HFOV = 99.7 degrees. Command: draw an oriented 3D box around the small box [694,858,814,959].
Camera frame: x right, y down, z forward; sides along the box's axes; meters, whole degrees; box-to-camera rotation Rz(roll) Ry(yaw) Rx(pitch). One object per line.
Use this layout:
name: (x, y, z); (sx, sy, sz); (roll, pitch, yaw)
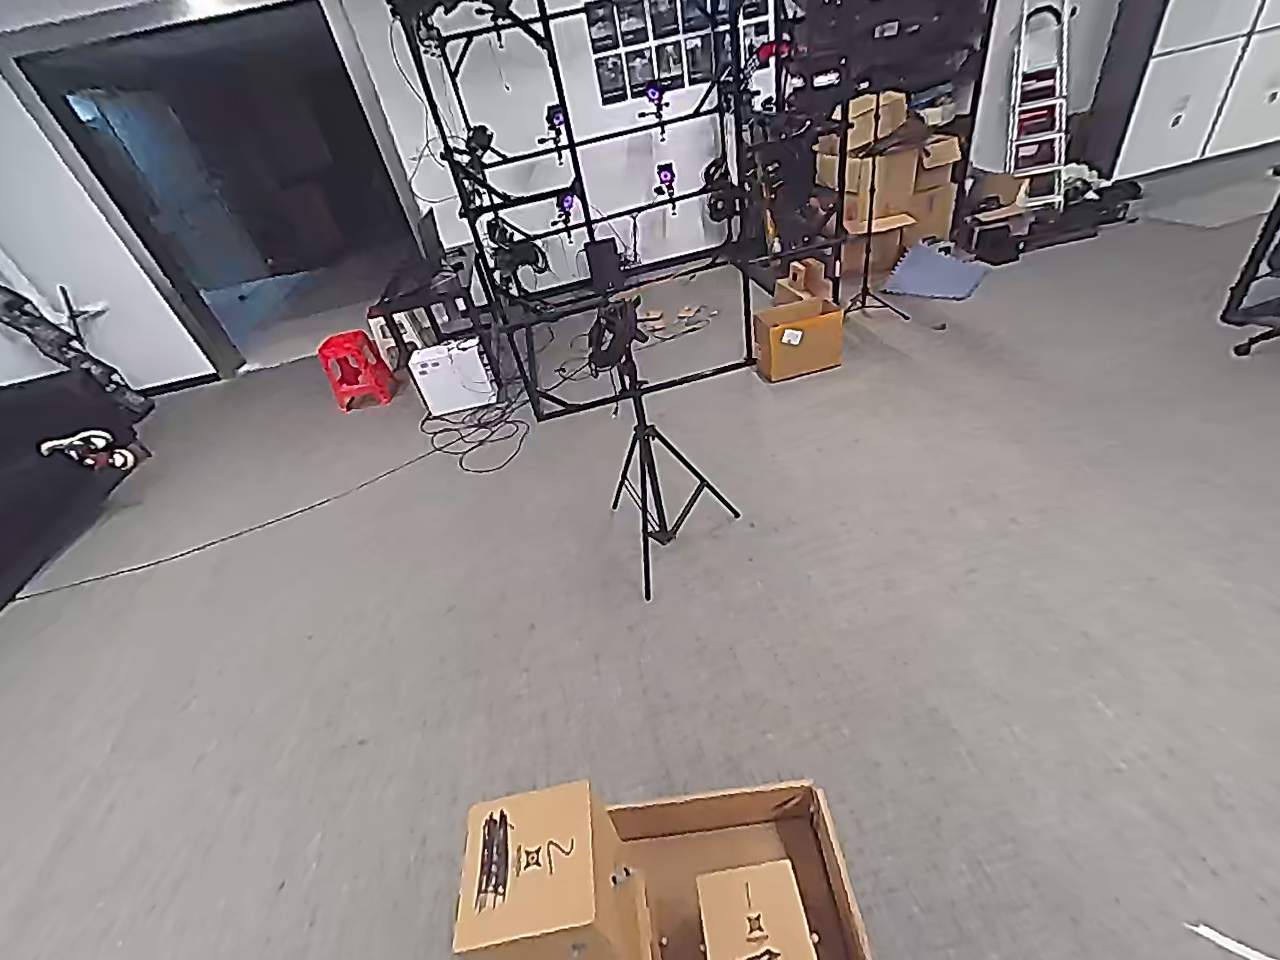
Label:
small box: (0.194, 0.771, 0.898); (0.168, 0.176, 0.179); (-12, 36, 2)

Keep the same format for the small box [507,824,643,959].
small box: (-0.096, 0.676, 0.835); (0.168, 0.176, 0.179); (-14, 36, 0)

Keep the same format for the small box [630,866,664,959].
small box: (-0.057, 0.802, 0.932); (0.179, 0.176, 0.168); (-11, 37, 1)
